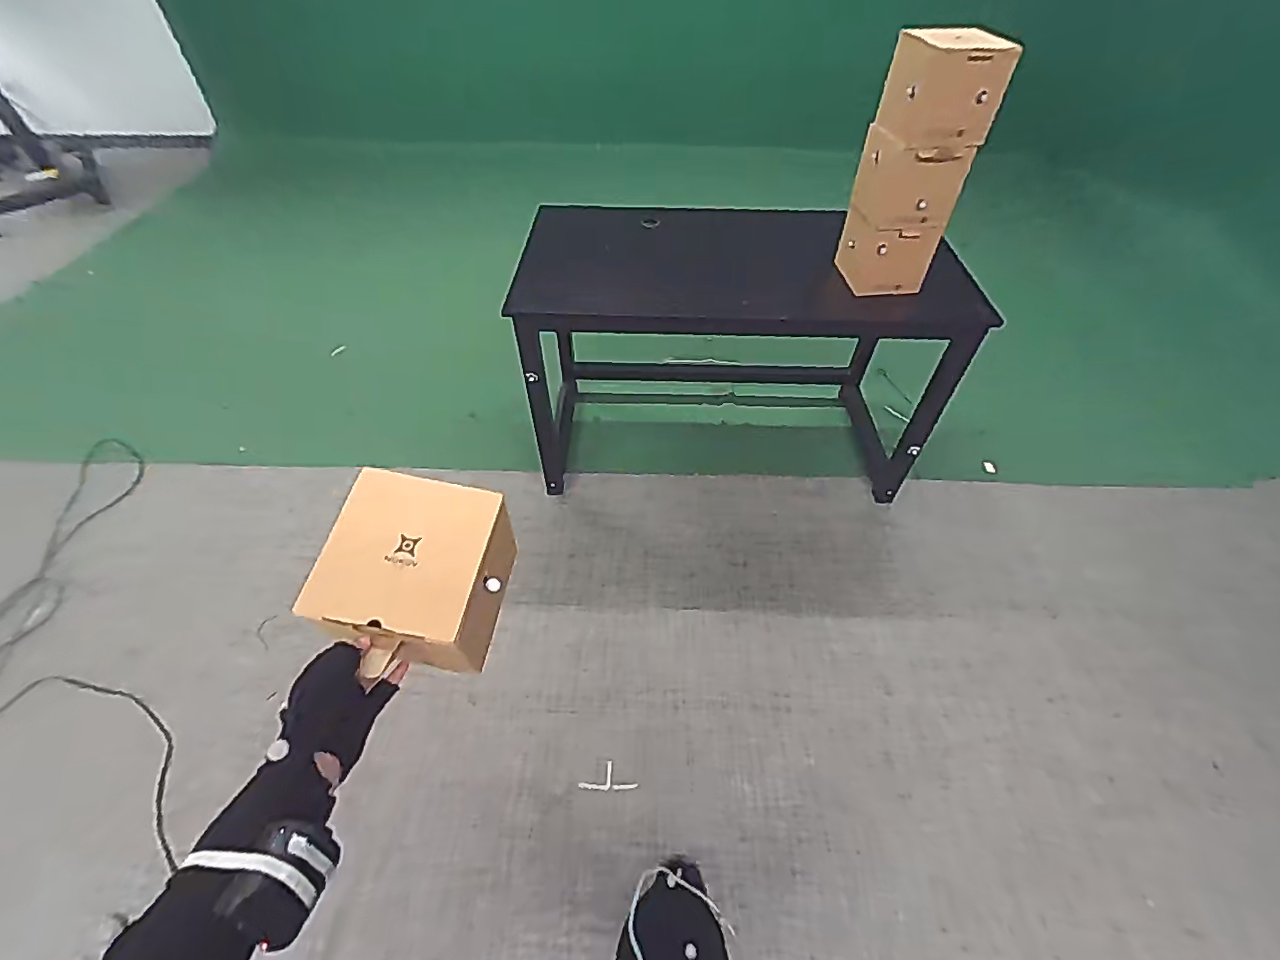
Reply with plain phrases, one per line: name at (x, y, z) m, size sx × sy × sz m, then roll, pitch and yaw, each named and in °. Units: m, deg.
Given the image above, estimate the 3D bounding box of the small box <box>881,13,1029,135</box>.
small box at (0.619, -0.814, 1.089) m, size 0.168 × 0.176 × 0.179 m, roll -4°, pitch 49°, yaw -4°

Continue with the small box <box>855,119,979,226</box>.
small box at (0.612, -0.697, 1.226) m, size 0.168 × 0.176 × 0.179 m, roll -5°, pitch 50°, yaw -3°

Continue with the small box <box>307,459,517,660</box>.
small box at (-0.252, 0.102, 0.653) m, size 0.168 × 0.176 × 0.179 m, roll 11°, pitch 62°, yaw -1°
